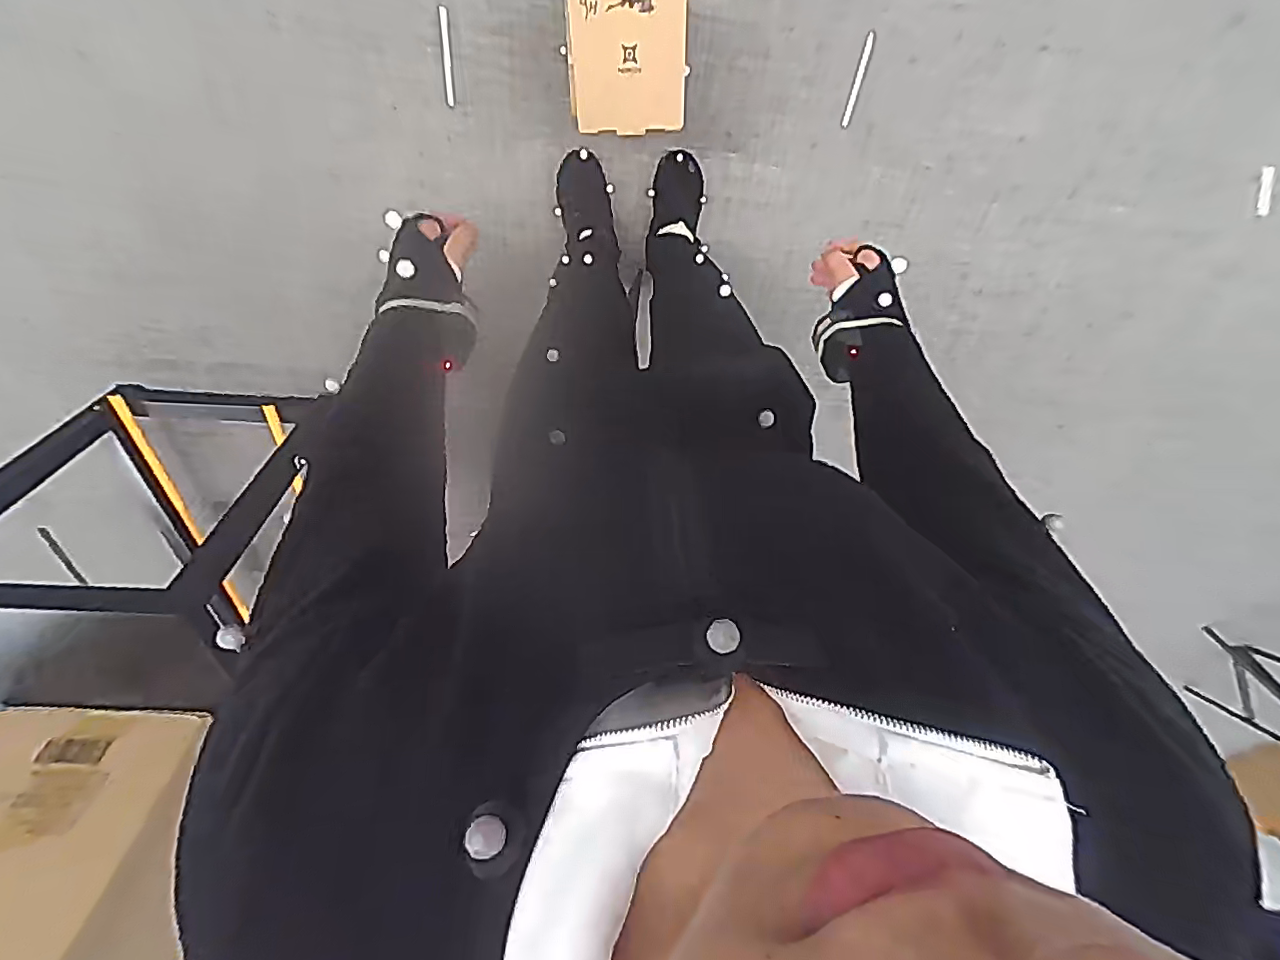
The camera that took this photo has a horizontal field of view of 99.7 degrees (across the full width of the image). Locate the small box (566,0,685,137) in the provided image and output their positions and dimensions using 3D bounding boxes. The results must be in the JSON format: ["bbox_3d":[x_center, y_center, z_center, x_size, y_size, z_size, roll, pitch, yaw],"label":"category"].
[{"bbox_3d":[-0.019,-0.653,0.845,0.168,0.176,0.179,-2,131,0],"label":"small box"}]
